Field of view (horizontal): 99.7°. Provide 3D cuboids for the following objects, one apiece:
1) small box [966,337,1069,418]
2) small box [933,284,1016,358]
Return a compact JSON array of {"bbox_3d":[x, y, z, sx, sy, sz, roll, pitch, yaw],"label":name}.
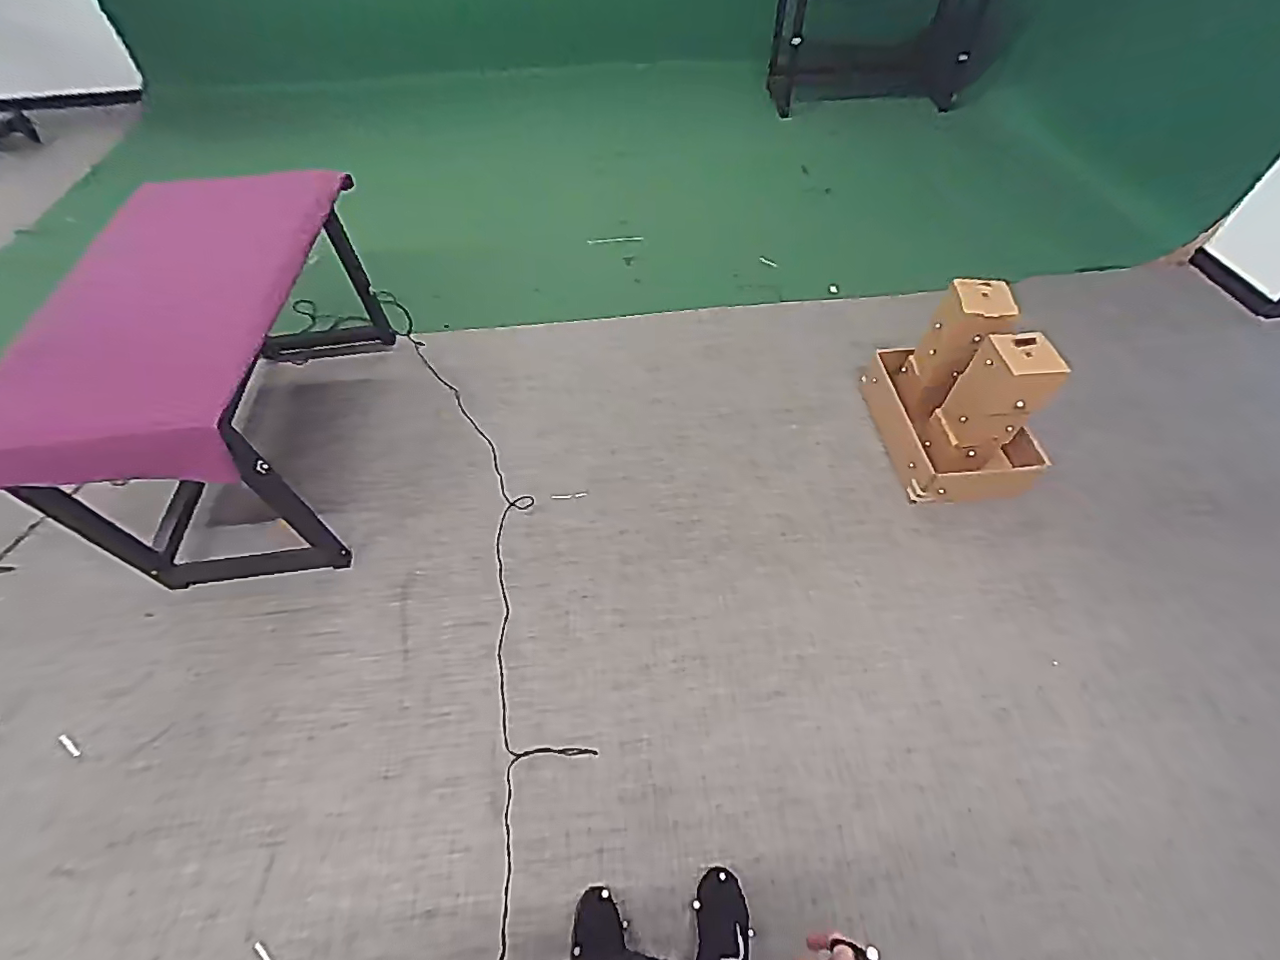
[{"bbox_3d":[1.130,-0.309,1.639,0.168,0.176,0.179,-4,54,-1],"label":"small box"},{"bbox_3d":[1.098,-0.522,1.790,0.168,0.176,0.179,6,57,5],"label":"small box"}]
